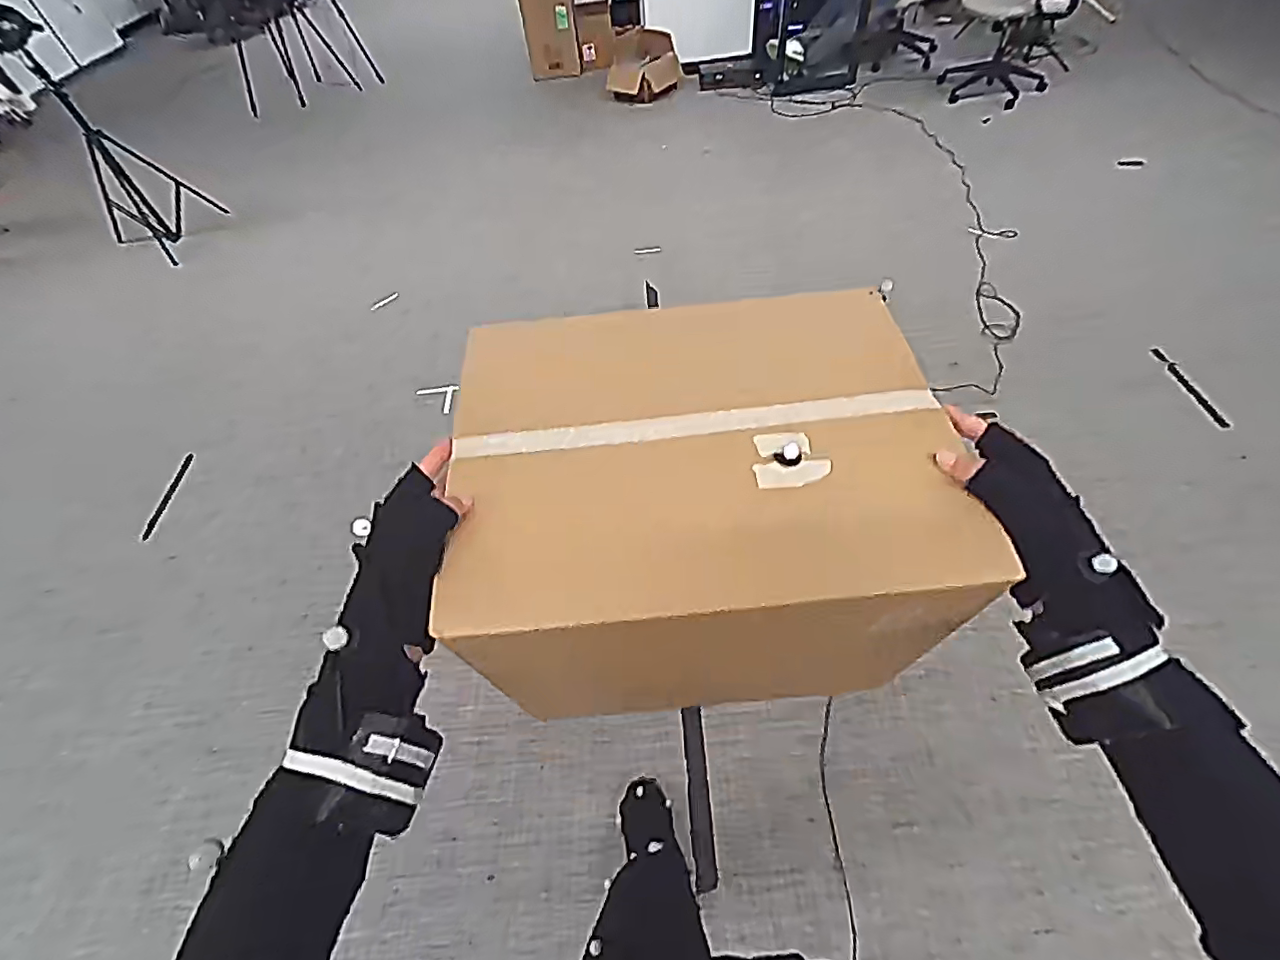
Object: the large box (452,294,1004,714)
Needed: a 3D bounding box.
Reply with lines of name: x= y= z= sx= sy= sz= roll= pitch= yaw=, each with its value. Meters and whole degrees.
large box: x=0.054 y=0.040 z=0.584 sx=0.408 sy=0.320 sz=0.320 roll=-6 pitch=57 yaw=-1
